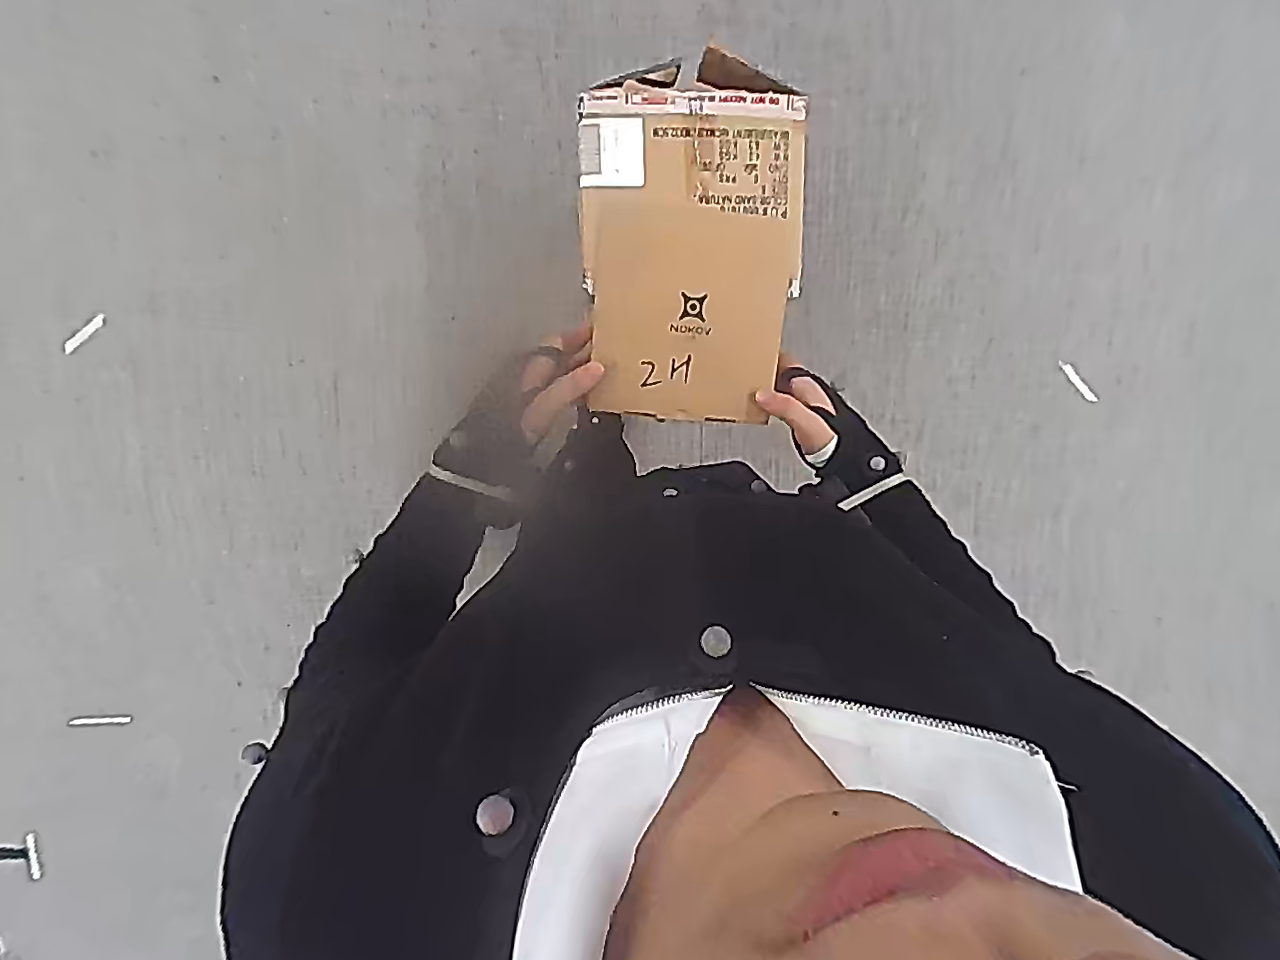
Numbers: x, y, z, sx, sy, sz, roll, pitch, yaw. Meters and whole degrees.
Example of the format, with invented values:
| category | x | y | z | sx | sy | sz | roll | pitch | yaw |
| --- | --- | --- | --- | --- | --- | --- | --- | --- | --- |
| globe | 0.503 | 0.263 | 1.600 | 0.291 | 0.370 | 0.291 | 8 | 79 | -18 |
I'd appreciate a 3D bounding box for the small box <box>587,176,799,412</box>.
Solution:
| category | x | y | z | sx | sy | sz | roll | pitch | yaw |
| --- | --- | --- | --- | --- | --- | --- | --- | --- | --- |
| small box | 0.036 | -0.169 | 0.535 | 0.168 | 0.176 | 0.179 | 4 | 103 | -7 |
